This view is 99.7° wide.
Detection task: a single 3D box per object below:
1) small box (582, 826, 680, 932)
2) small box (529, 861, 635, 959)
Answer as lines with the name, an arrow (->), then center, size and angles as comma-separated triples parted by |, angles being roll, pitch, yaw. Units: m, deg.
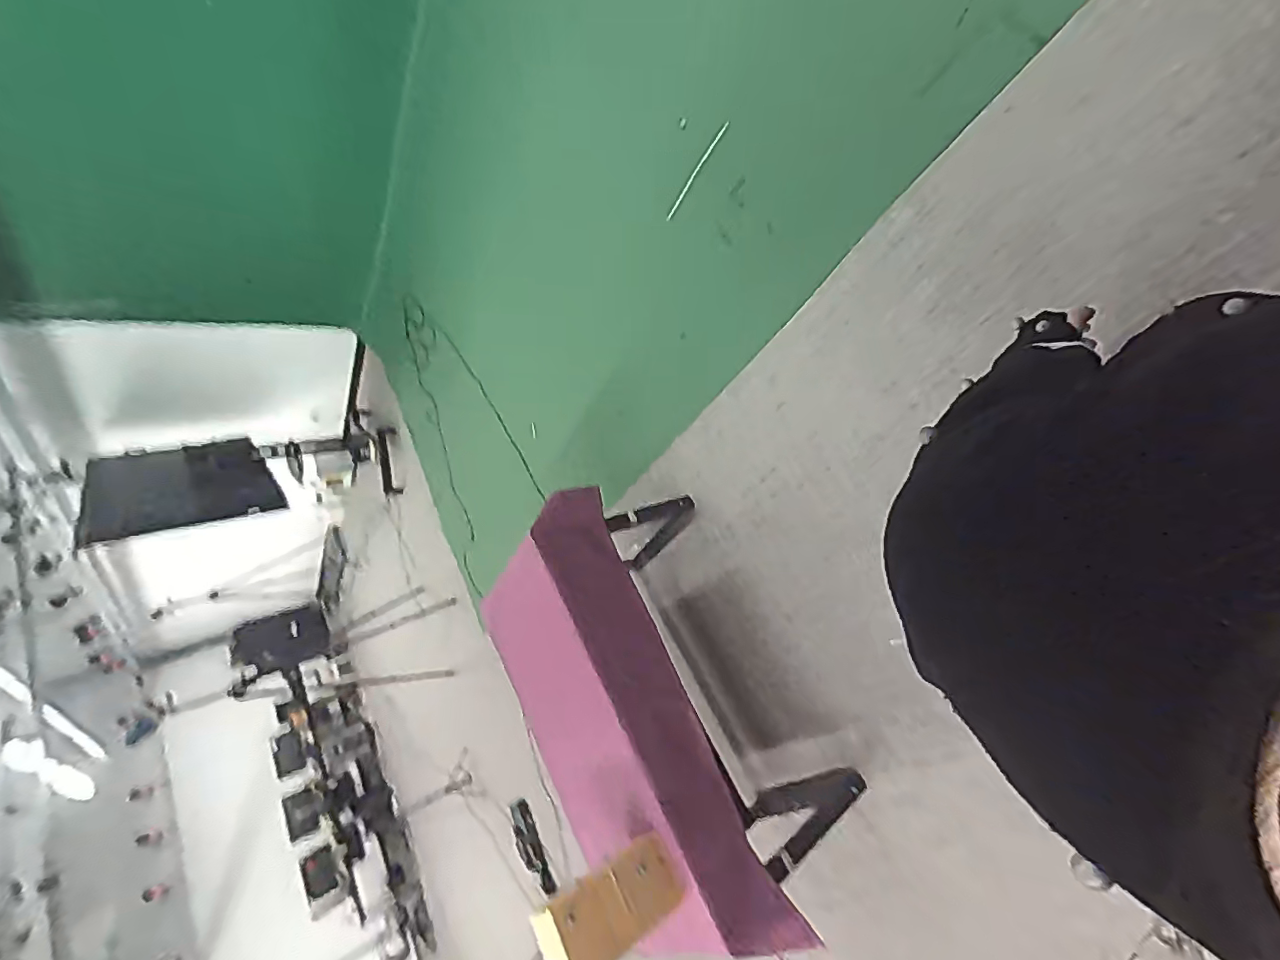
small box -> -0.019, 1.042, 1.420 | 0.168, 0.176, 0.179 | 59, 137, 21
small box -> -0.139, 1.073, 1.314 | 0.179, 0.176, 0.168 | 58, 136, 23
